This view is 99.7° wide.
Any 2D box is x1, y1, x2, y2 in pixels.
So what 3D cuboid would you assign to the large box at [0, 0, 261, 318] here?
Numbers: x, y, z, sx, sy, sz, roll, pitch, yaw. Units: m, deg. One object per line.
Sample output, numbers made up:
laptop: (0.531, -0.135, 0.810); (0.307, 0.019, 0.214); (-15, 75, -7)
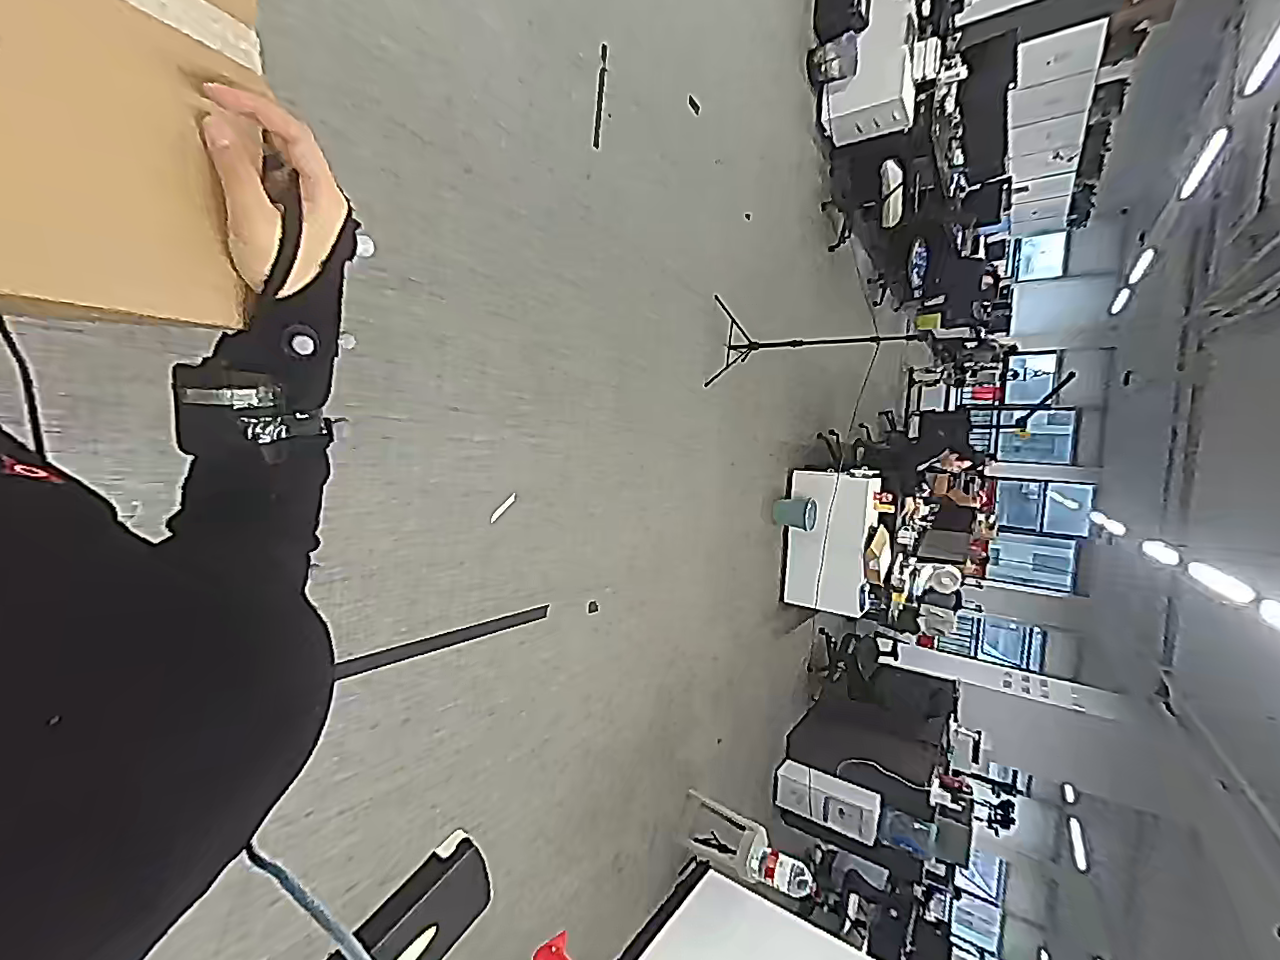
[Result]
large box: (-0.456, -0.259, 0.220); (0.408, 0.320, 0.320); (-9, 108, -62)
